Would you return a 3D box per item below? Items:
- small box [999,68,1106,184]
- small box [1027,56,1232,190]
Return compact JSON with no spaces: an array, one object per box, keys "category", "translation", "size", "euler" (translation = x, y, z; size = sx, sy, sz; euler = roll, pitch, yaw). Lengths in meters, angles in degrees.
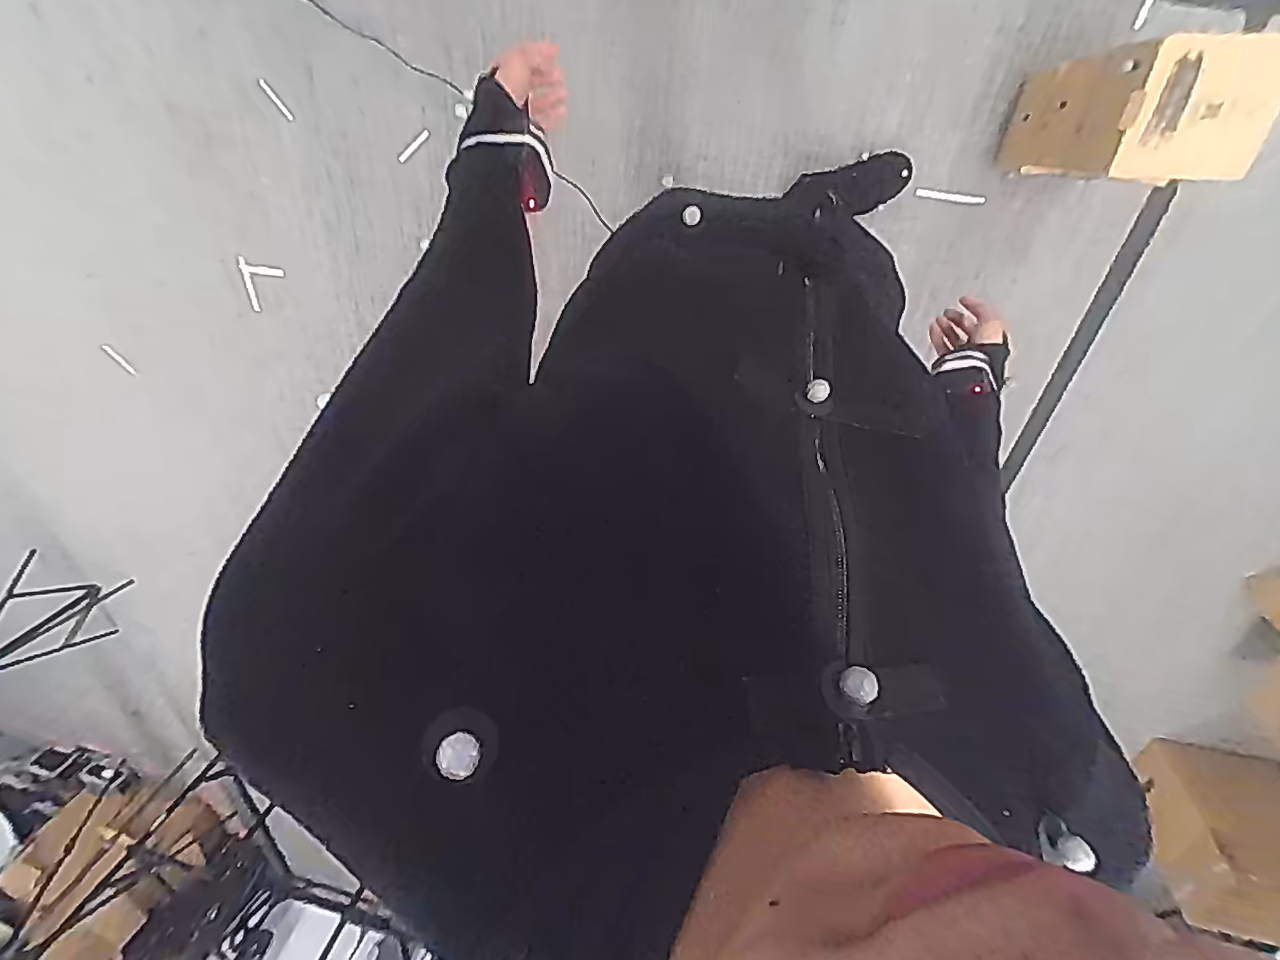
[{"category":"small box","translation":[0.855,-0.705,1.082],"size":[0.168,0.176,0.179],"euler":[10,123,9]},{"category":"small box","translation":[0.831,-0.620,0.944],"size":[0.179,0.176,0.168],"euler":[14,125,7]}]
